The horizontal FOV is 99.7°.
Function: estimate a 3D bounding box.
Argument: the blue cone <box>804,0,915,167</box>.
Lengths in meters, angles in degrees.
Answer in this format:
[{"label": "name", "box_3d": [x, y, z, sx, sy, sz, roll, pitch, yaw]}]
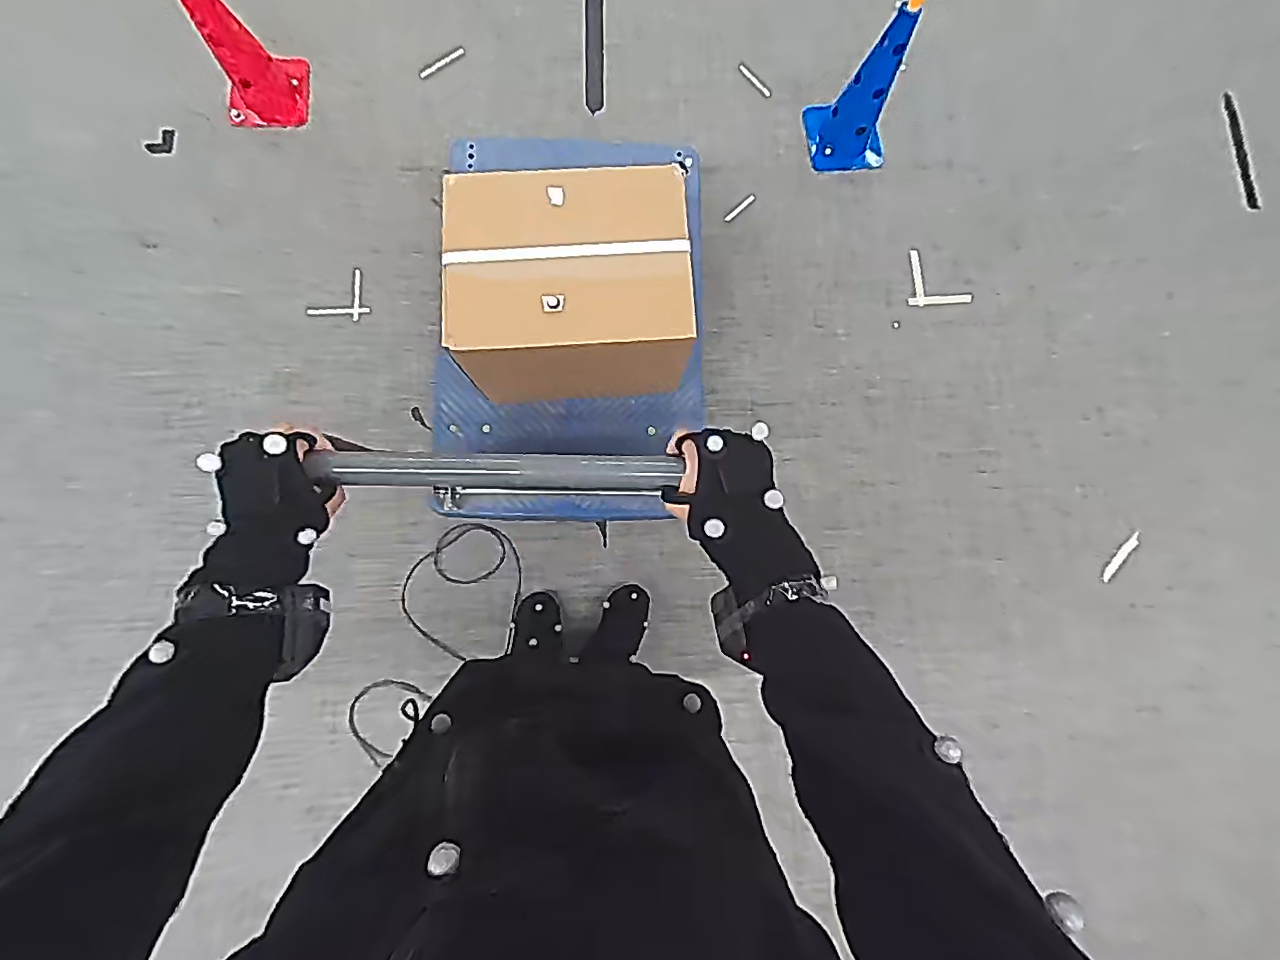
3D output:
[{"label": "blue cone", "box_3d": [0.564, -0.977, 1.332, 0.193, 0.380, 0.192, -5, 81, -3]}]
